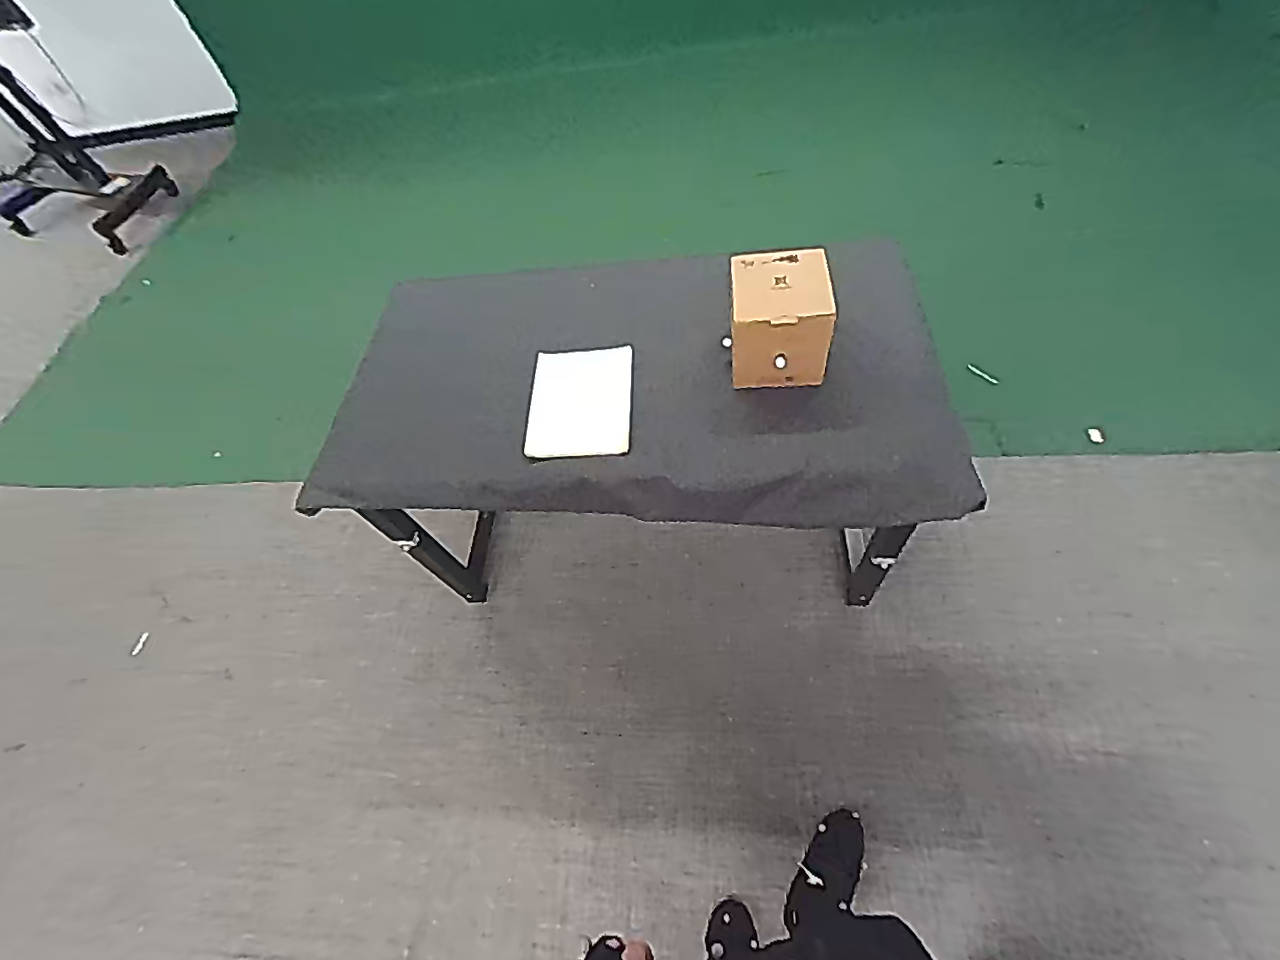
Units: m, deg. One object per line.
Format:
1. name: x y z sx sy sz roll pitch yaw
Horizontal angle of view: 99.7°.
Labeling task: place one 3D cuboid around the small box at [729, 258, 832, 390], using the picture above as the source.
1. small box: 0.251 -0.279 1.000 0.168 0.176 0.179 -1 59 9
